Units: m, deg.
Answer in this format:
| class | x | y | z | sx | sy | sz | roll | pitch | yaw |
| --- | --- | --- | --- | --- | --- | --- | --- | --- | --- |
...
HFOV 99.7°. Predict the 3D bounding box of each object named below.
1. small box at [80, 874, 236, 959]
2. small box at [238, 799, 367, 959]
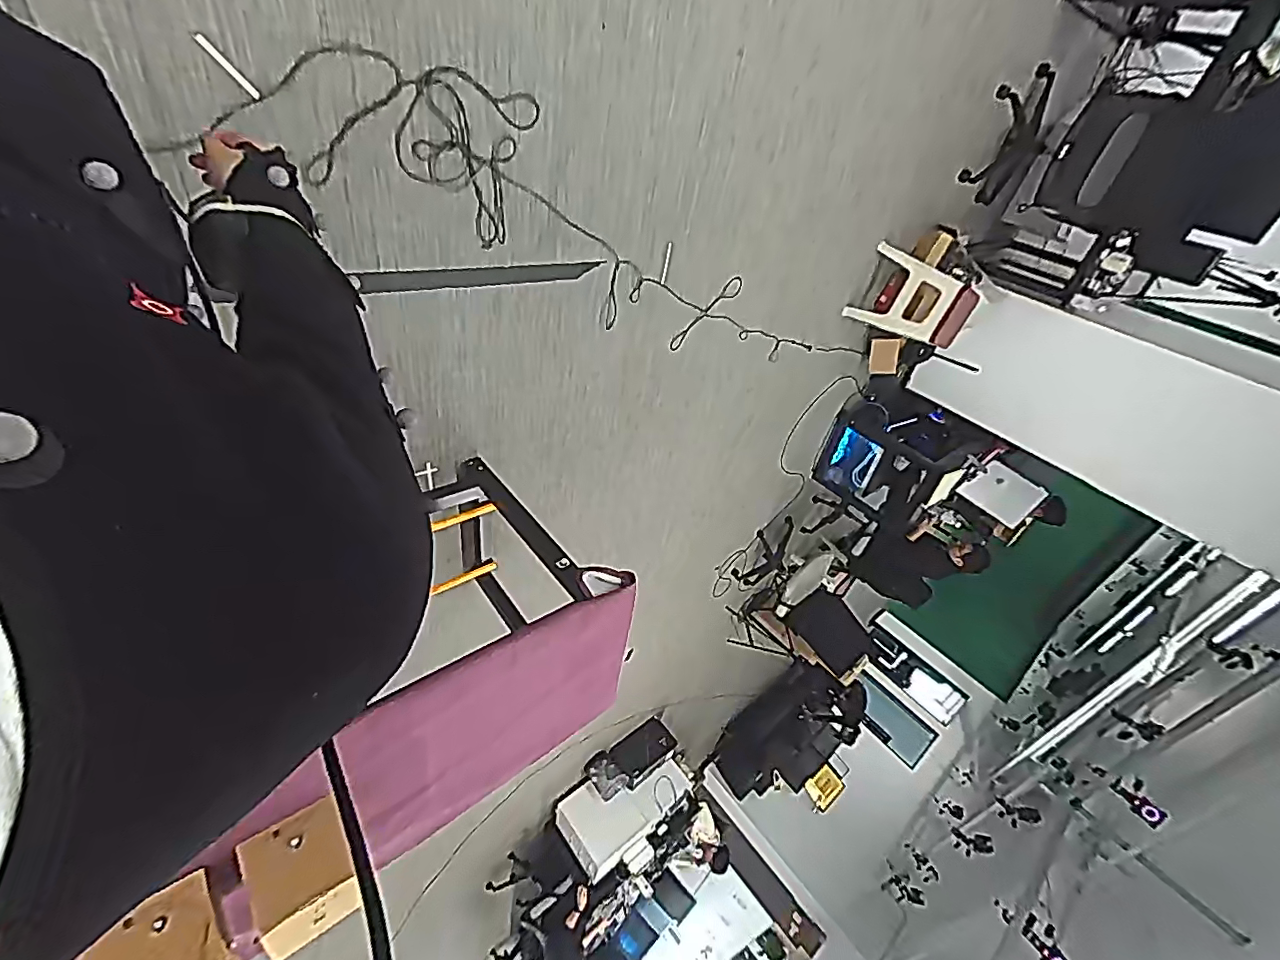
| class | x | y | z | sx | sy | sz | roll | pitch | yaw |
| --- | --- | --- | --- | --- | --- | --- | --- | --- | --- |
| small box | -0.802 | 0.818 | 0.913 | 0.168 | 0.176 | 0.179 | -18 | 137 | -39 |
| small box | -0.642 | 0.758 | 1.036 | 0.168 | 0.176 | 0.179 | -18 | 137 | -38 |
